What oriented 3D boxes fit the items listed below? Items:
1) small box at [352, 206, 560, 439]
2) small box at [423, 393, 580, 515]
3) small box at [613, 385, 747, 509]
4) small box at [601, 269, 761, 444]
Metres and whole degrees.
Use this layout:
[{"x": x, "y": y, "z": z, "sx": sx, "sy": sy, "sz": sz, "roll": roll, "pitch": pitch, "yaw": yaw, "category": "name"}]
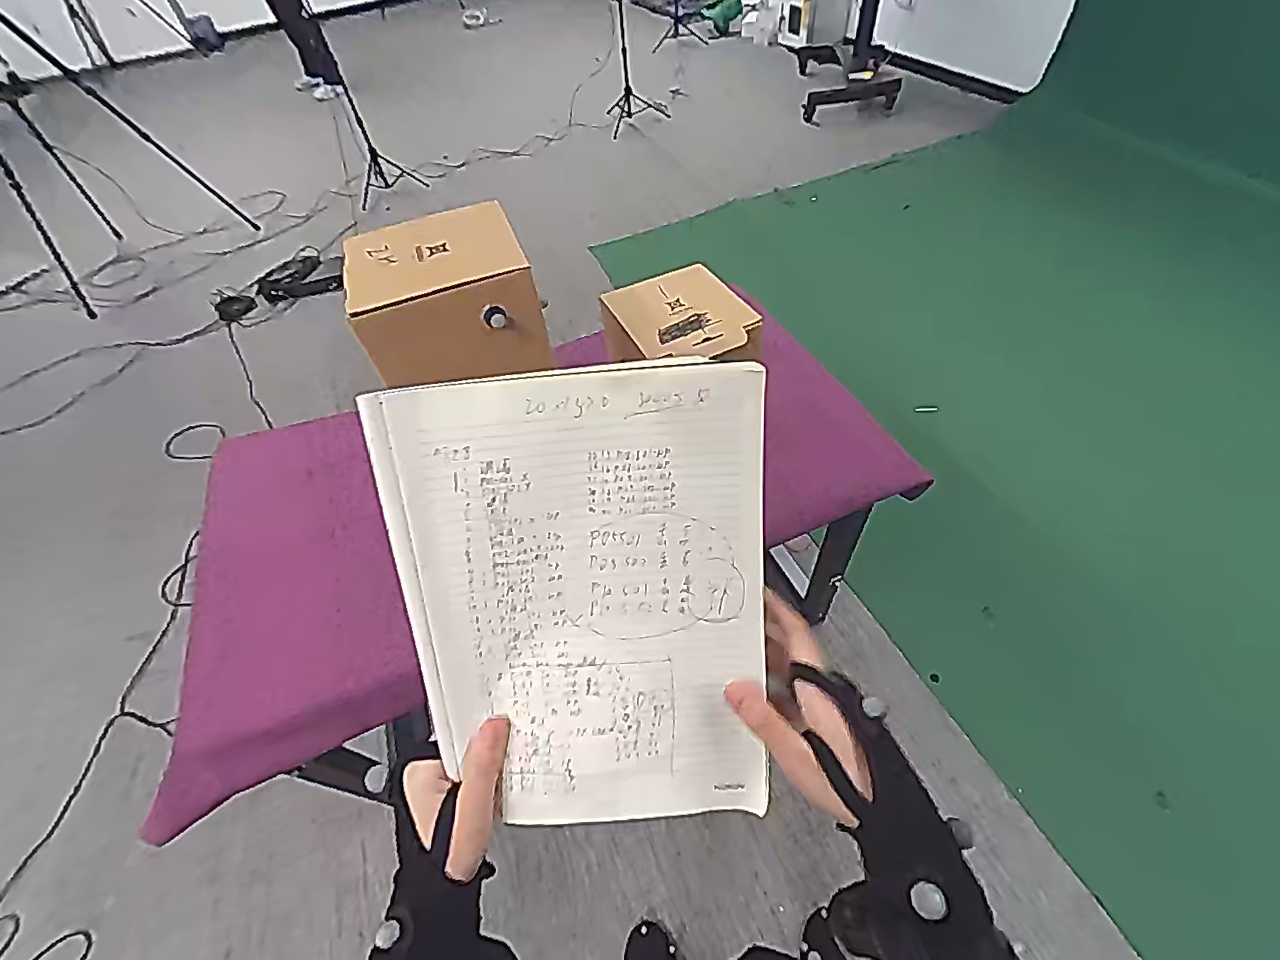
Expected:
[{"x": -0.198, "y": -0.175, "z": 0.612, "sx": 0.179, "sy": 0.176, "sz": 0.168, "roll": -19, "pitch": 50, "yaw": -8, "category": "small box"}, {"x": -0.193, "y": -0.073, "z": 0.742, "sx": 0.168, "sy": 0.176, "sz": 0.179, "roll": -21, "pitch": 51, "yaw": -10, "category": "small box"}, {"x": 0.067, "y": -0.072, "z": 0.922, "sx": 0.168, "sy": 0.176, "sz": 0.179, "roll": -20, "pitch": 51, "yaw": -11, "category": "small box"}, {"x": 0.059, "y": -0.174, "z": 0.794, "sx": 0.168, "sy": 0.176, "sz": 0.179, "roll": -21, "pitch": 51, "yaw": -12, "category": "small box"}]
